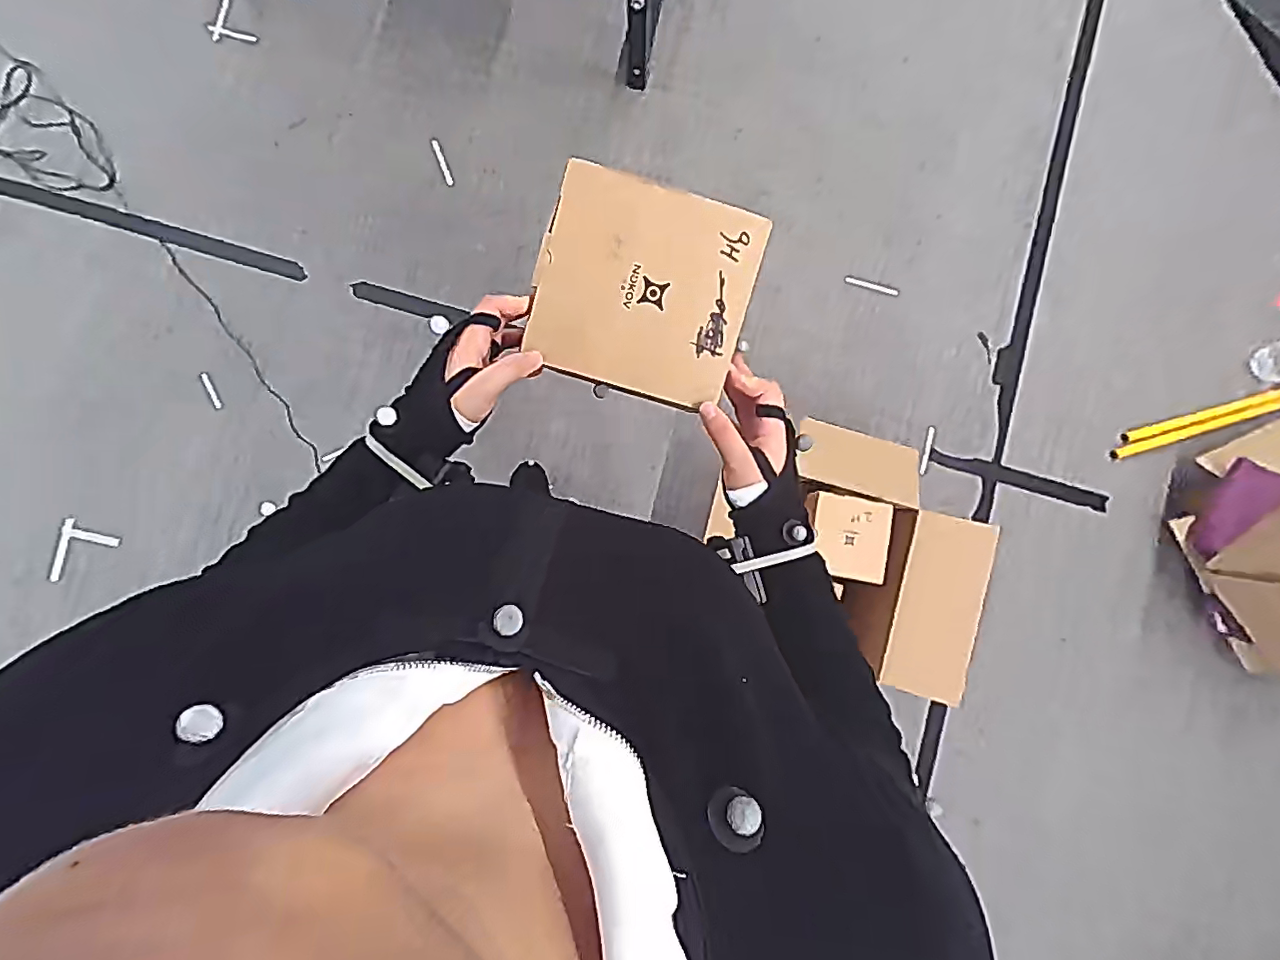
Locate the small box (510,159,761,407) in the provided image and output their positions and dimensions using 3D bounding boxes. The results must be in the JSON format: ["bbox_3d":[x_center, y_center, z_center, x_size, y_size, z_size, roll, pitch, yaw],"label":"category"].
[{"bbox_3d":[-0.005,-0.169,0.527,0.179,0.176,0.168,16,97,-2],"label":"small box"}]
